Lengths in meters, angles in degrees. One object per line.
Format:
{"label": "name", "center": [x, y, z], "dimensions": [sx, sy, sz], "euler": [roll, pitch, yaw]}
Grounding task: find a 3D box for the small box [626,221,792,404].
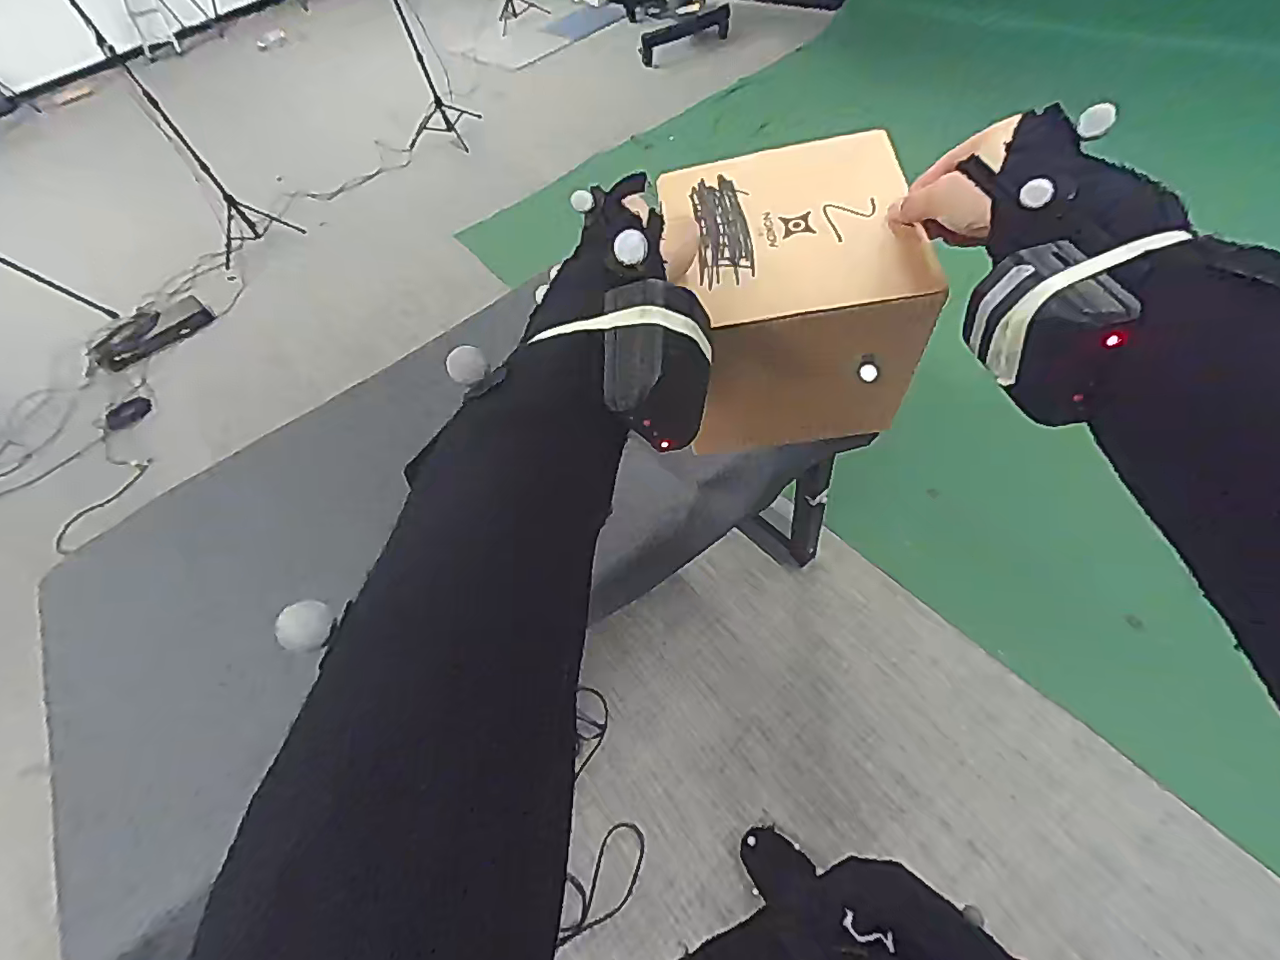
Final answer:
{"label": "small box", "center": [0.106, -0.247, 0.814], "dimensions": [0.179, 0.176, 0.168], "euler": [-33, 56, -12]}
